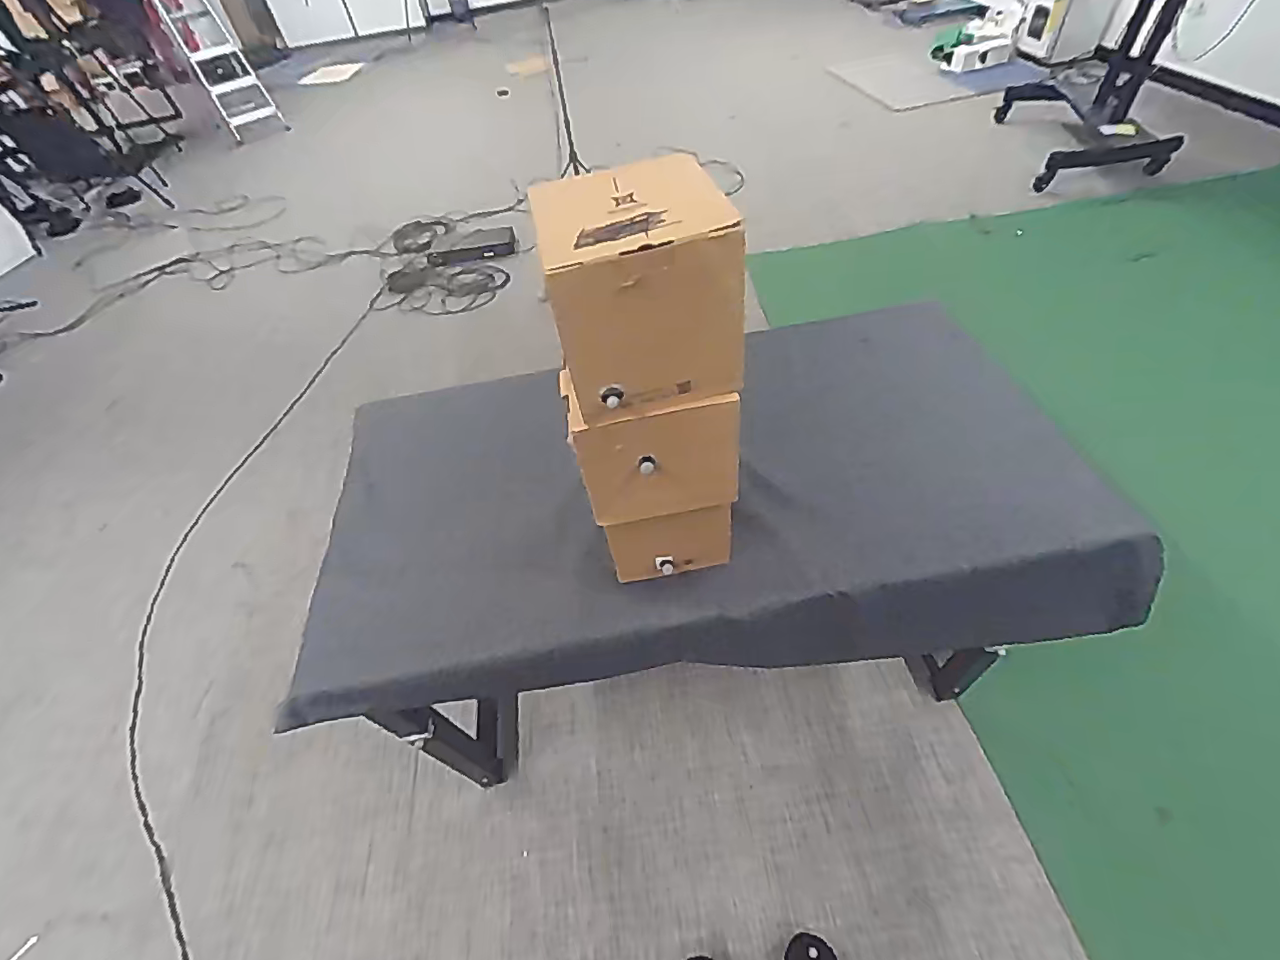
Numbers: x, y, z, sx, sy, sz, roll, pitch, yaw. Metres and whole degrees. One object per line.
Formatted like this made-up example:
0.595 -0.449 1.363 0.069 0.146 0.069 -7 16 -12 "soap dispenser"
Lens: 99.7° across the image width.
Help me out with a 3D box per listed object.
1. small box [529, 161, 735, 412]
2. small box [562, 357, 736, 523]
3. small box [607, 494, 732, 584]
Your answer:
-0.005 -0.186 0.543 0.168 0.176 0.179 -13 48 -2 "small box"
0.013 -0.068 0.662 0.179 0.176 0.168 -12 47 -2 "small box"
0.032 0.025 0.792 0.168 0.176 0.179 -13 50 -1 "small box"
